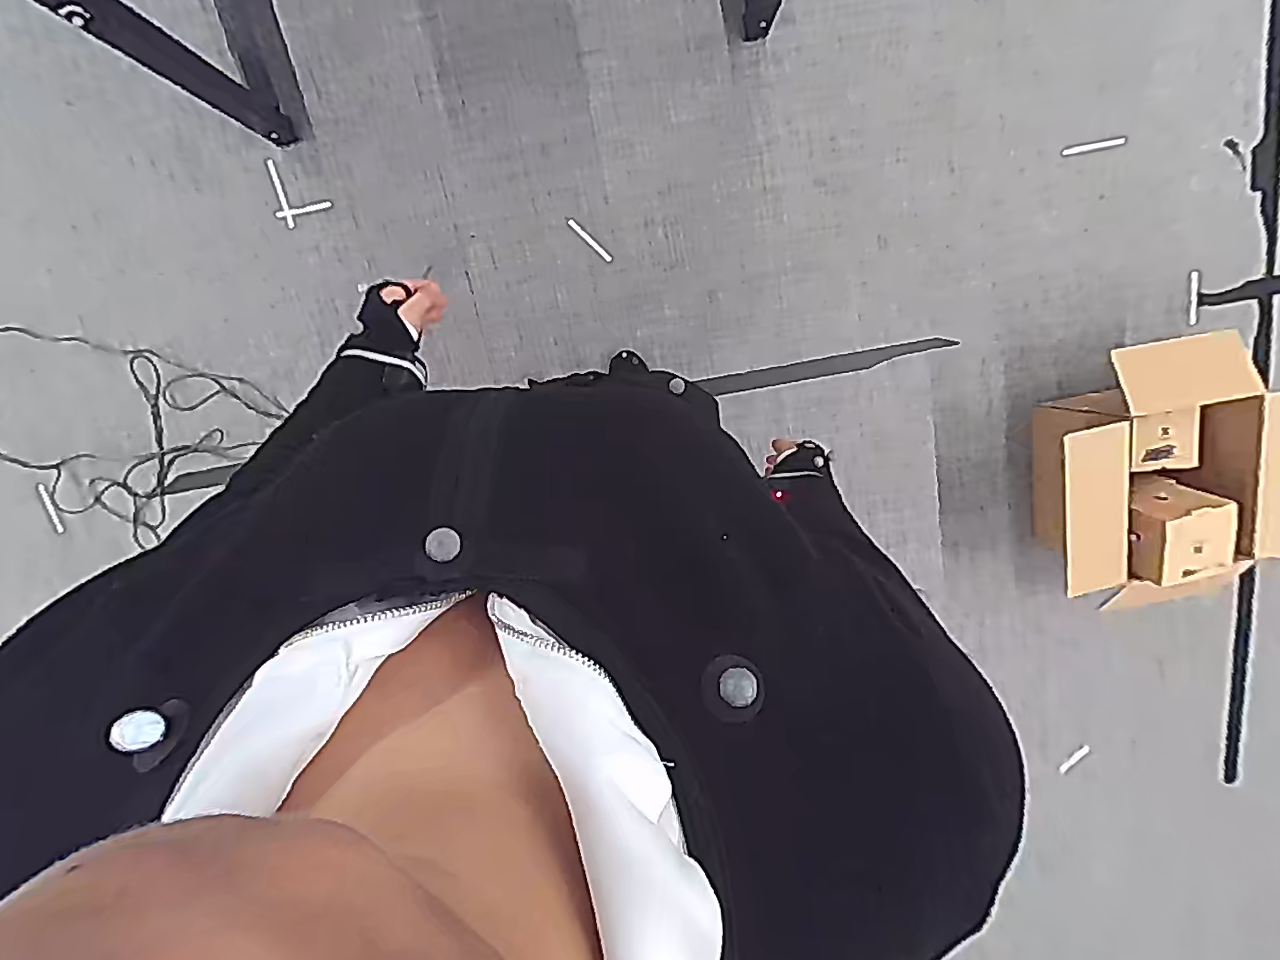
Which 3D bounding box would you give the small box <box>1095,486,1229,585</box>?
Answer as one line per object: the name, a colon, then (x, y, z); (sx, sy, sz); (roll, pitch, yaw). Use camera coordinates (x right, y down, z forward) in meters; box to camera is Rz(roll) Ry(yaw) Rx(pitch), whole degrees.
small box: (1.246, 0.124, 1.303); (0.168, 0.176, 0.179); (-14, 107, 0)
